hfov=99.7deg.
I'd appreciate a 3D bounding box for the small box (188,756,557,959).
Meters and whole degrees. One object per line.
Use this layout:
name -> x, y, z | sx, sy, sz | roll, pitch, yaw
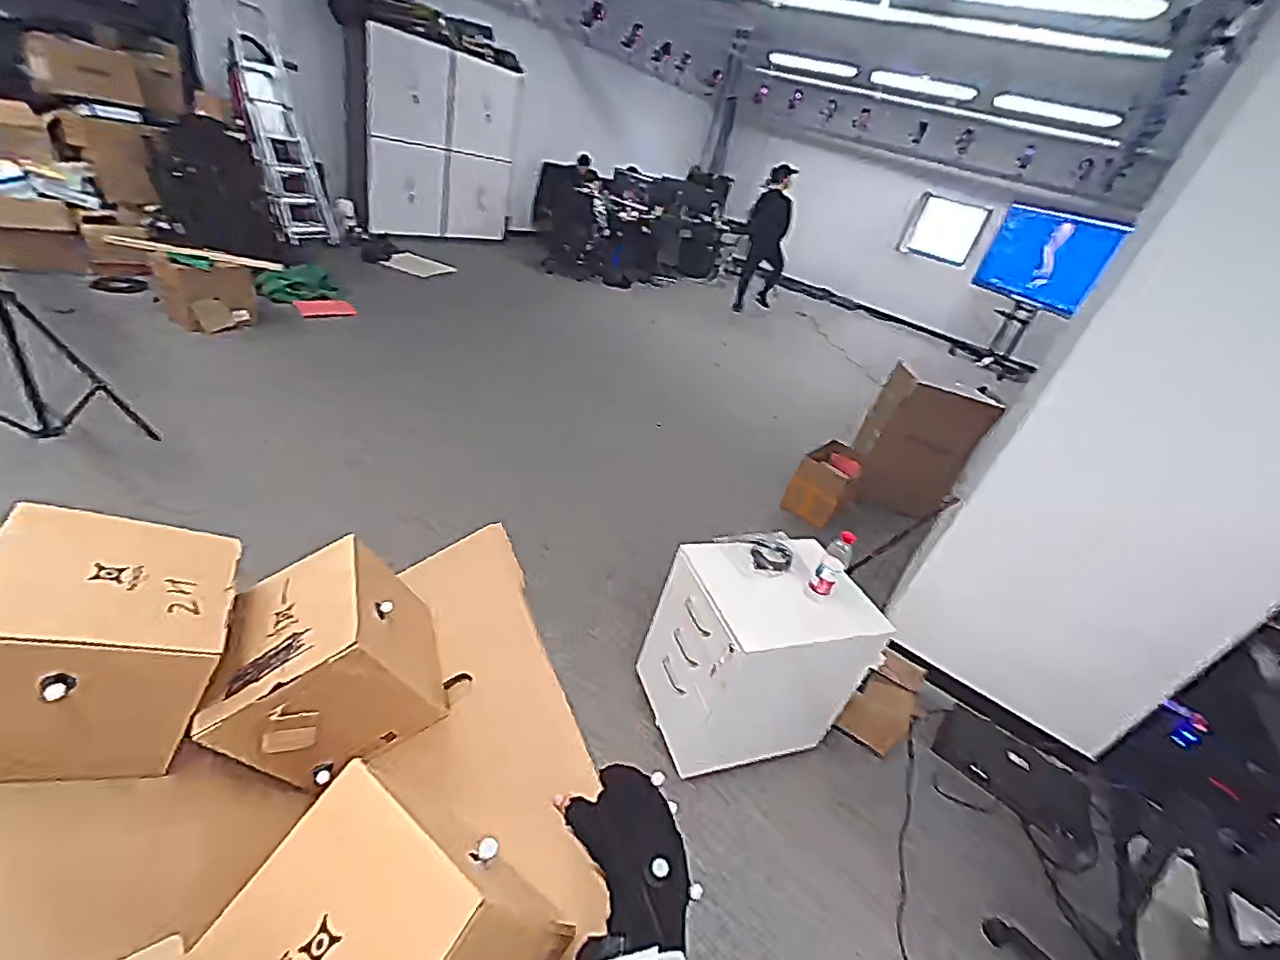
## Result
small box -> -0.185, 0.355, 0.411 | 0.168, 0.176, 0.179 | 17, 57, 33
